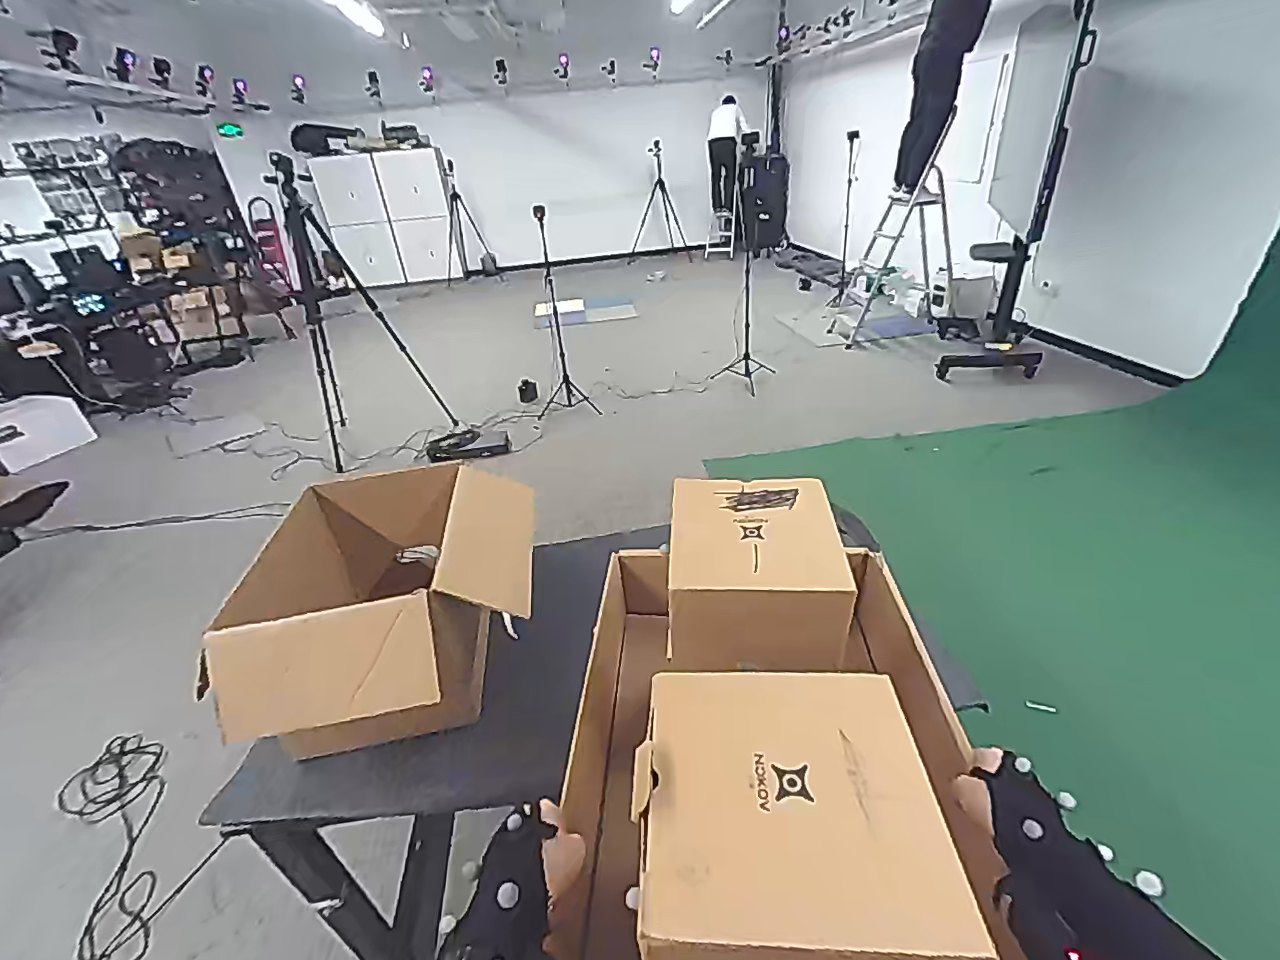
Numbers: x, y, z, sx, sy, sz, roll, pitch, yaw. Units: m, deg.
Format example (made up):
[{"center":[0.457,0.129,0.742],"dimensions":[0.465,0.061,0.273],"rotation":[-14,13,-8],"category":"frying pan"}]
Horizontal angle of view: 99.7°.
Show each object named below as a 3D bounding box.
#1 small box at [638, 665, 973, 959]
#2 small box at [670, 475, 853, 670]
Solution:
[{"center":[0.095,0.257,0.390],"dimensions":[0.179,0.176,0.168],"rotation":[0,33,5],"category":"small box"},{"center":[0.119,0.113,0.597],"dimensions":[0.168,0.176,0.179],"rotation":[1,36,6],"category":"small box"}]
